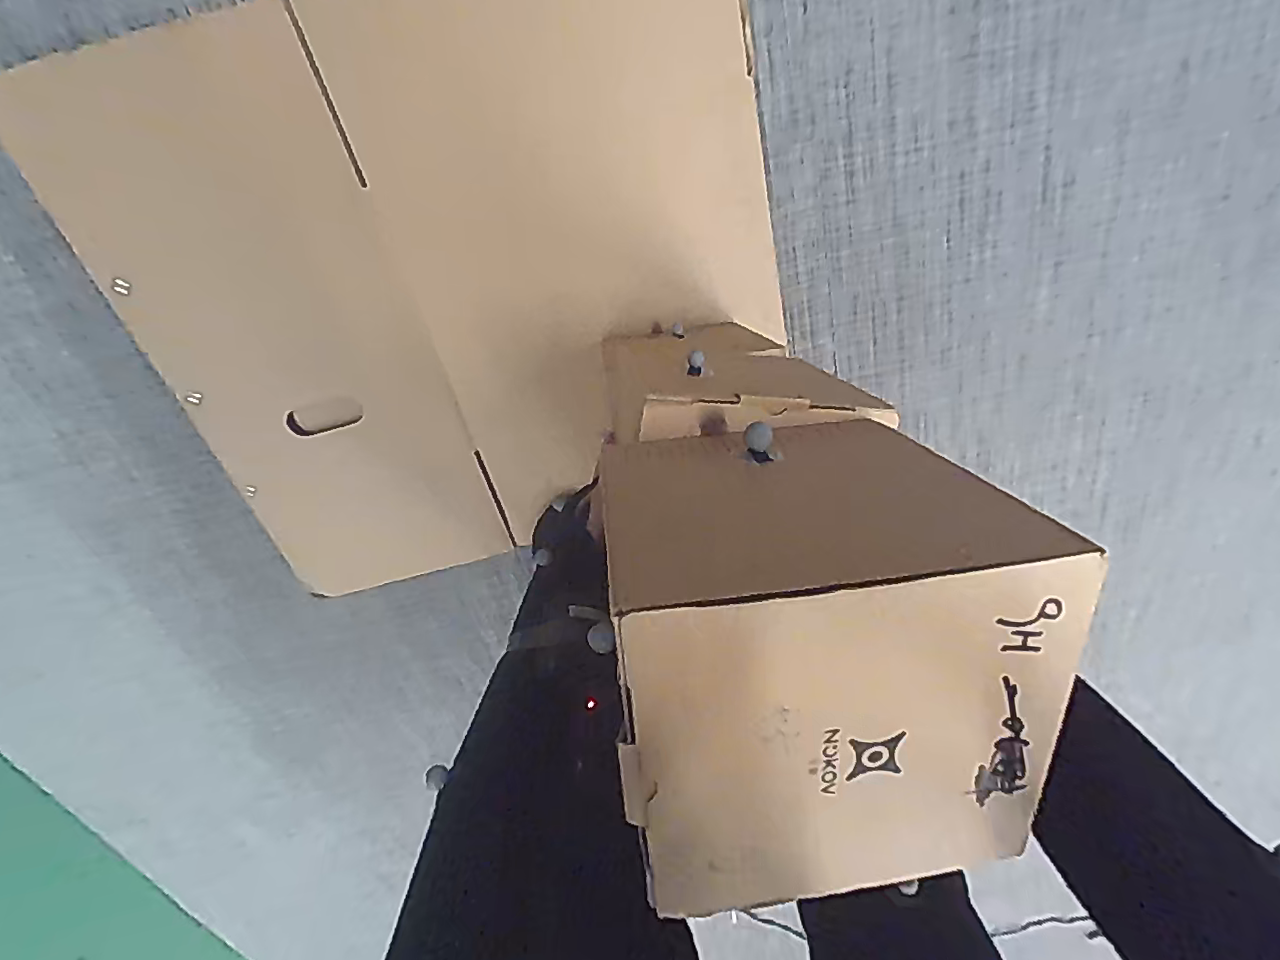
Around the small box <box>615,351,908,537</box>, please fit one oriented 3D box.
[{"bbox_3d":[0.070,0.001,0.428,0.168,0.176,0.179,3,113,-7],"label":"small box"}]

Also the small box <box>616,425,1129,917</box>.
[{"bbox_3d":[0.079,0.076,0.283,0.179,0.176,0.168,-6,113,-3],"label":"small box"}]
